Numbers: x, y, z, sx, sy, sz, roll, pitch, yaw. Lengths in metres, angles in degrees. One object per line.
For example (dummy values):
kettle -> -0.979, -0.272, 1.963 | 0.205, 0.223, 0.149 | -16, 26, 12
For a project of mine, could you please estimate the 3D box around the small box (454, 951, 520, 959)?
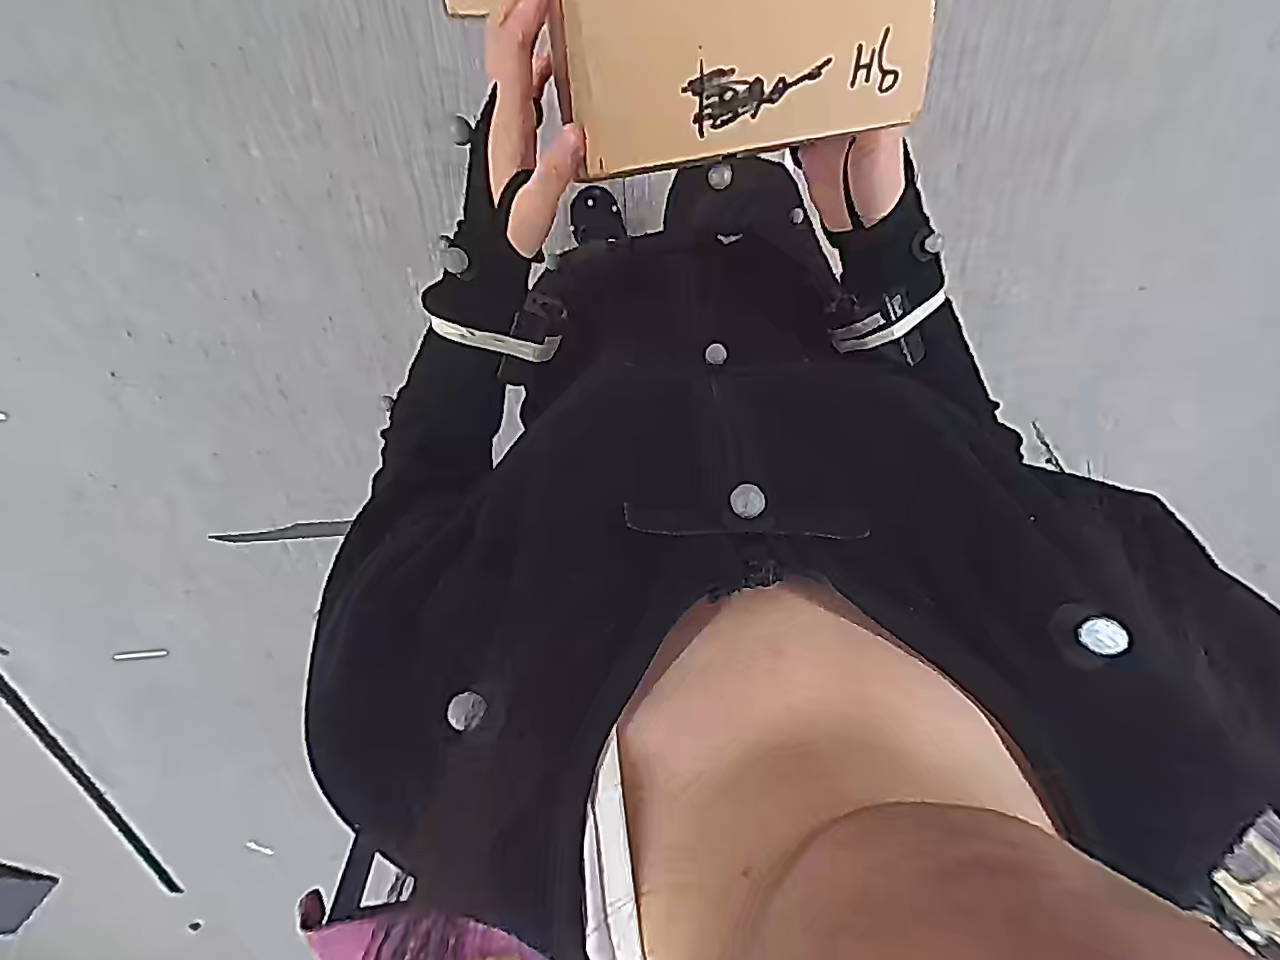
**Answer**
small box -> -0.384, 1.304, 1.330 | 0.168, 0.176, 0.179 | 1, 118, -8

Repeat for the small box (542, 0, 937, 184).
small box -> 0.033, -0.270, 0.288 | 0.168, 0.176, 0.179 | -13, 118, -4

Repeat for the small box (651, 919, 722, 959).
small box -> 0.120, 1.247, 1.359 | 0.168, 0.176, 0.179 | -3, 118, -5
